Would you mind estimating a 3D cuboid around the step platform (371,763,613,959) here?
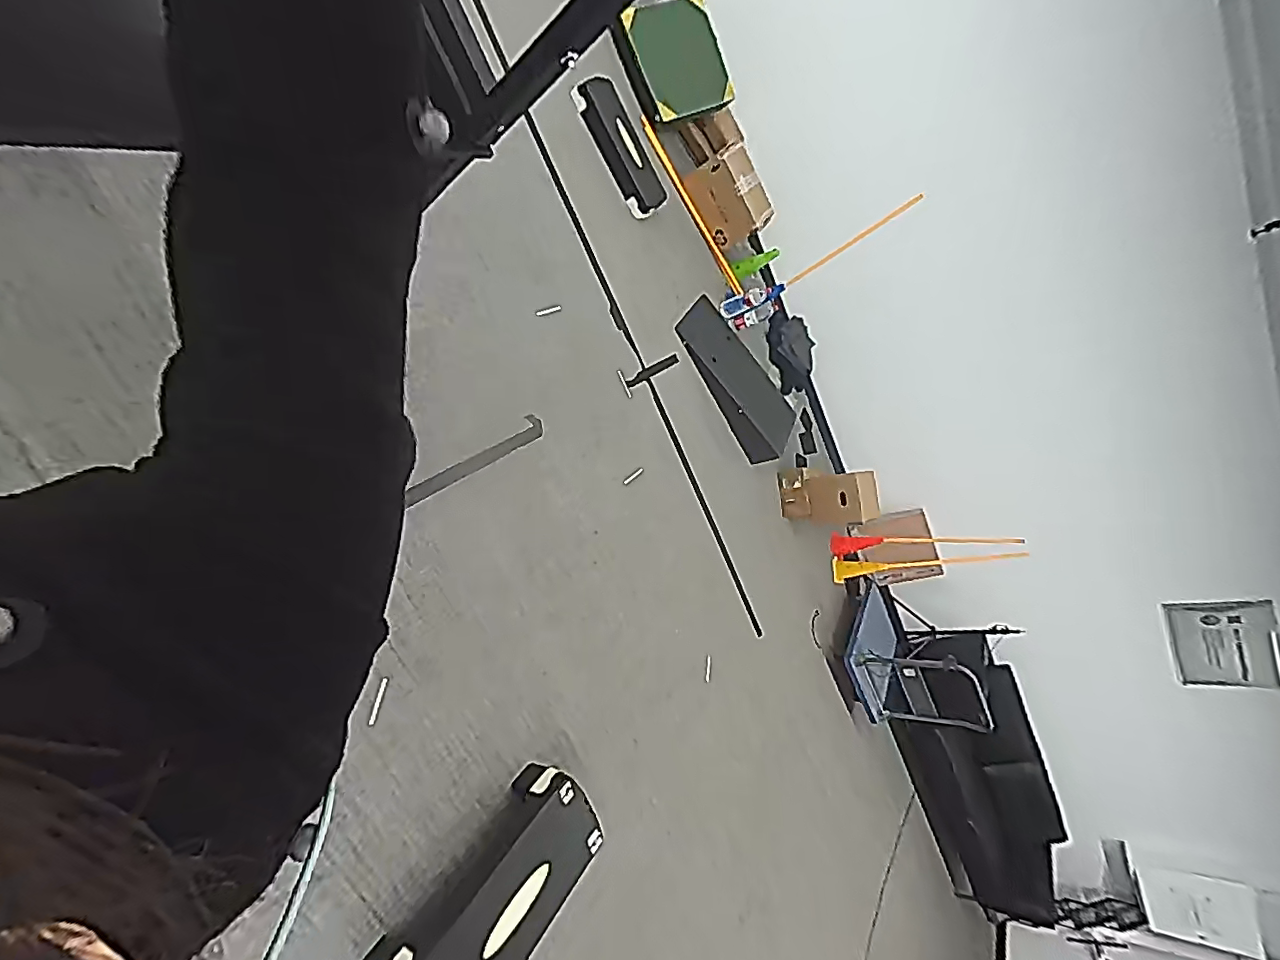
[{"bbox_3d":[-0.364,1.149,1.521,0.684,0.204,0.286,-31,103,-51],"label":"step platform"}]
